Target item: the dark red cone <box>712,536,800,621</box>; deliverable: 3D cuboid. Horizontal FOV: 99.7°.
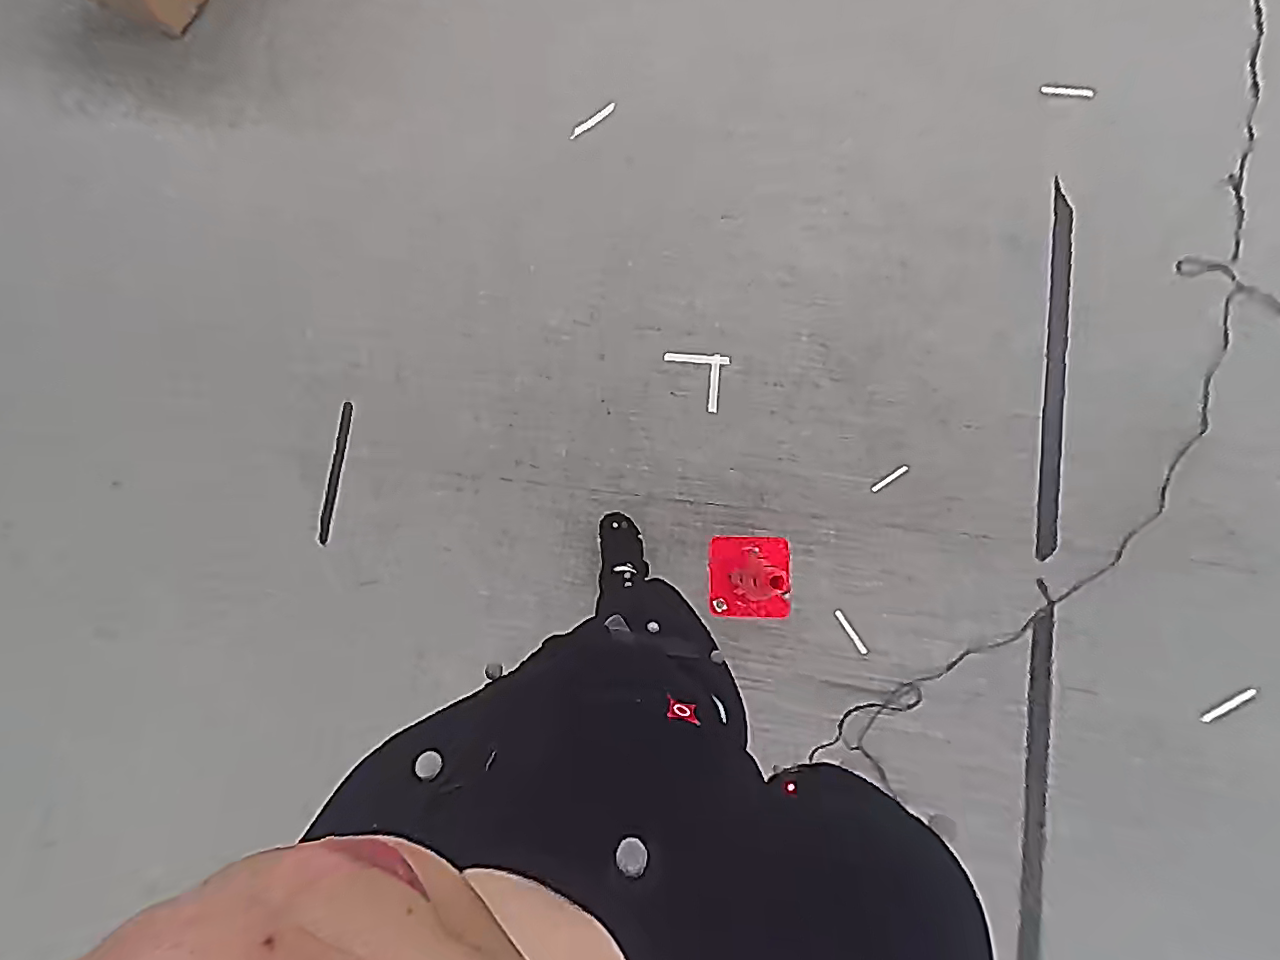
[{"bbox_3d":[0.269,0.212,1.137,0.201,0.394,0.202,0,82,2],"label":"dark red cone"}]
